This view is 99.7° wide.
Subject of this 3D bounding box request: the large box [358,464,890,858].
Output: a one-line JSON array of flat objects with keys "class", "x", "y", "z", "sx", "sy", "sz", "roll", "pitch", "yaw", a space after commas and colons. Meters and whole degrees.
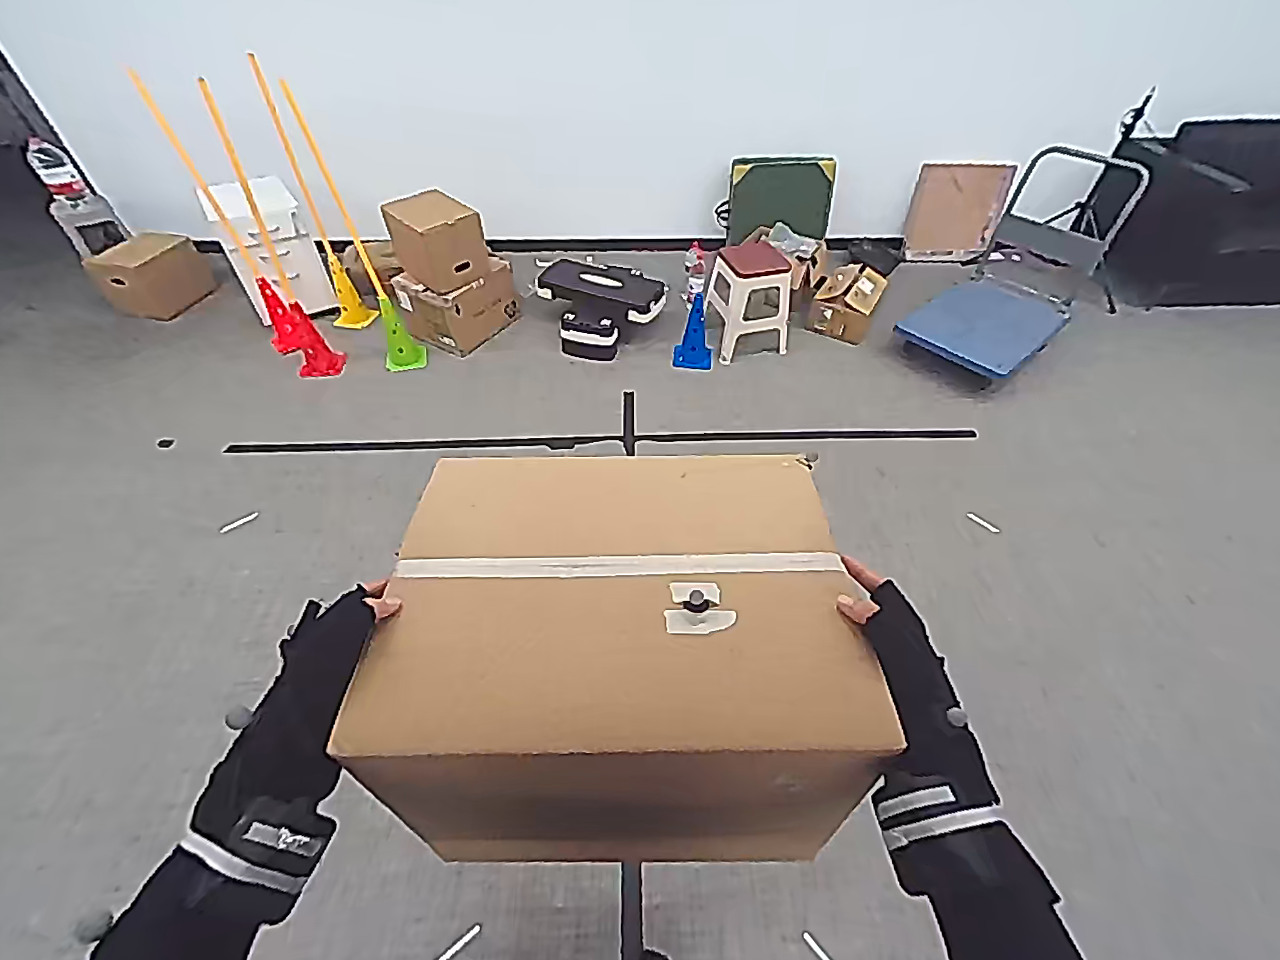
[{"class": "large box", "x": -0.013, "y": 0.198, "z": 0.605, "sx": 0.408, "sy": 0.320, "sz": 0.320, "roll": 0, "pitch": 43, "yaw": 0}]
